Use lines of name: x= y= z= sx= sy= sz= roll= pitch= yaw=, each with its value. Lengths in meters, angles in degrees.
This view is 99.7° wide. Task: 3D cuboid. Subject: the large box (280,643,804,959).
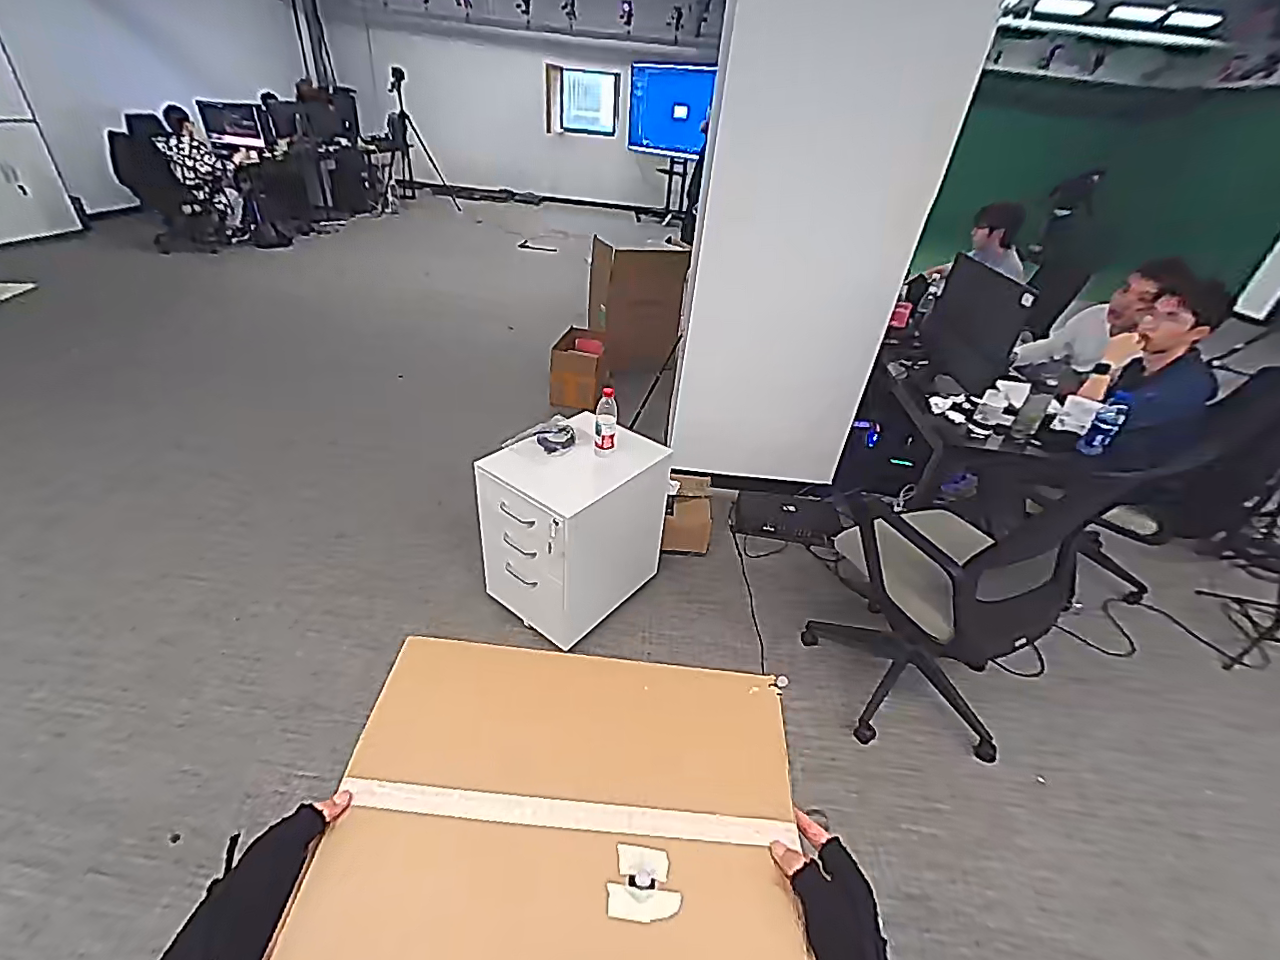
large box: x=-0.079 y=0.413 z=0.583 sx=0.408 sy=0.320 sz=0.320 roll=7 pitch=41 yaw=-1
